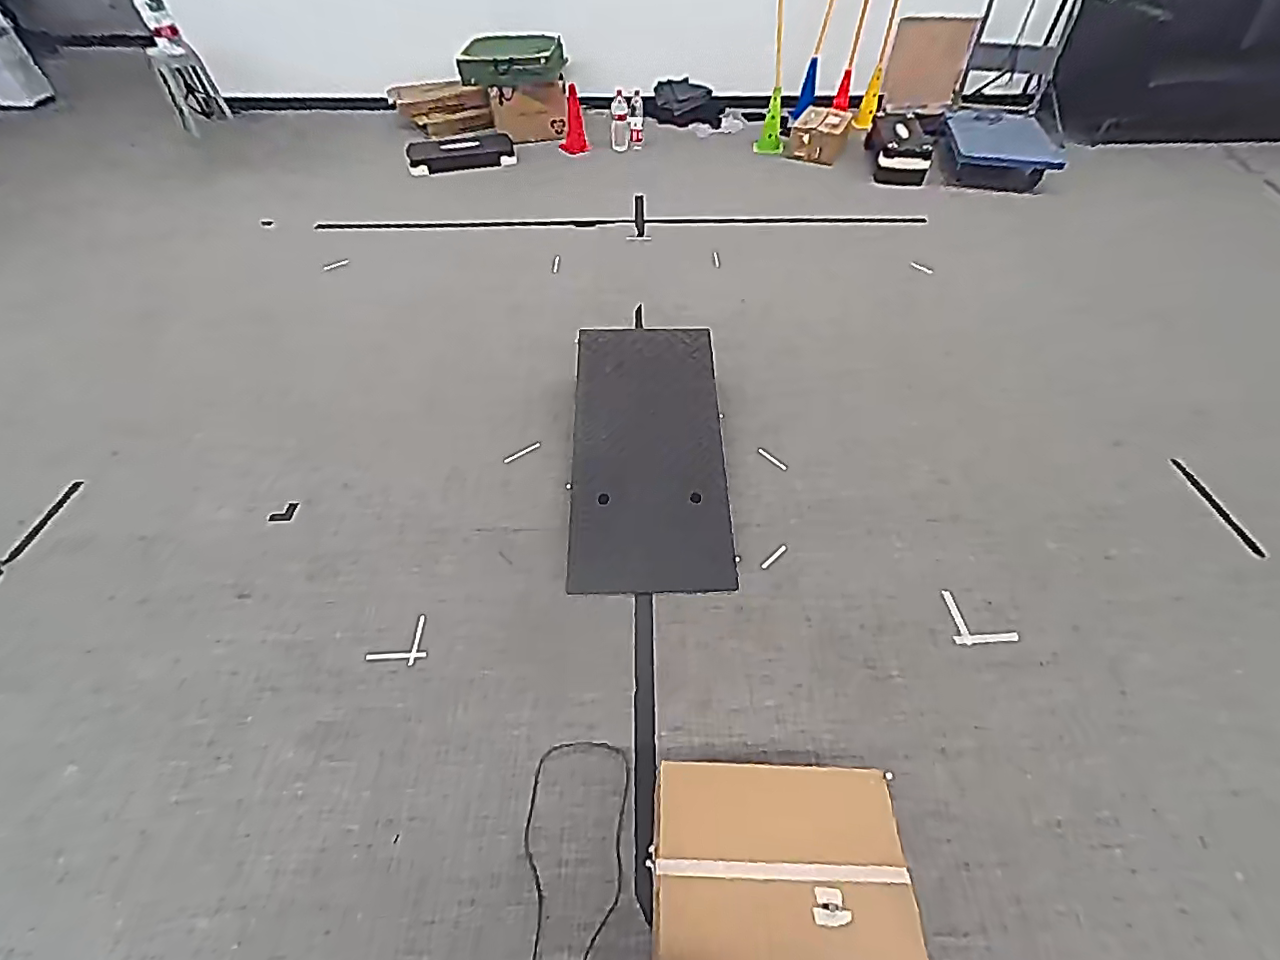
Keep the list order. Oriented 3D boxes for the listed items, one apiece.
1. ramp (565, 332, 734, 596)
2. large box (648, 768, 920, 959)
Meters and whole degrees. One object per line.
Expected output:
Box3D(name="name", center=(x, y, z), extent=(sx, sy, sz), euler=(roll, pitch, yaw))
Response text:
Box3D(name="ramp", center=(0.017, -0.109, 1.778), extent=(0.509, 0.206, 0.991), euler=(-1, 51, -3))
Box3D(name="large box", center=(0.222, 0.740, 0.991), extent=(0.408, 0.320, 0.320), euler=(2, 50, 0))
